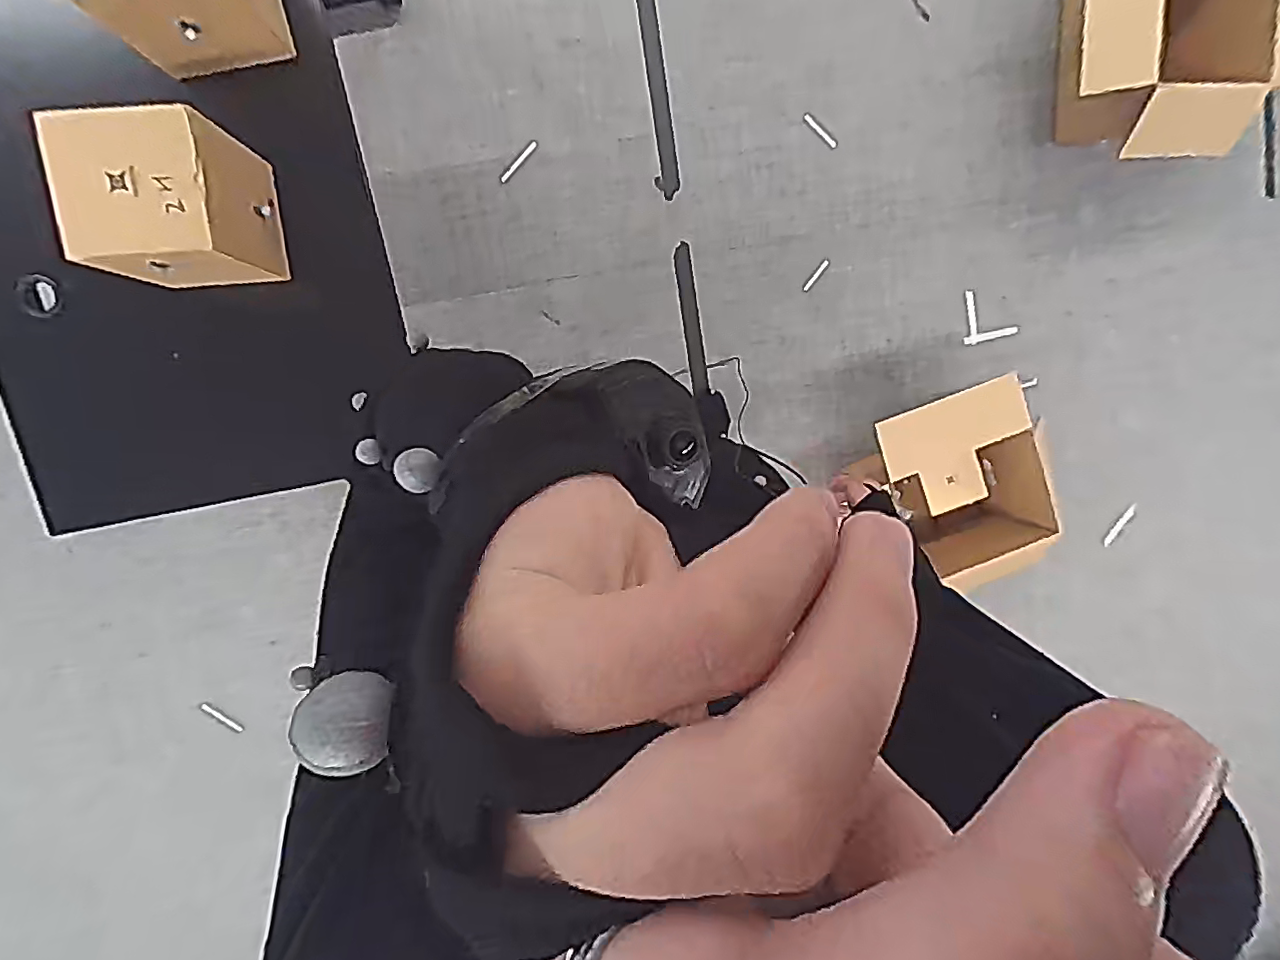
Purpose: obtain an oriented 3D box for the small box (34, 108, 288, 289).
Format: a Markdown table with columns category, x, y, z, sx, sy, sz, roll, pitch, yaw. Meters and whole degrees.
| category | x | y | z | sx | sy | sz | roll | pitch | yaw |
| --- | --- | --- | --- | --- | --- | --- | --- | --- | --- |
| small box | -0.616 | -0.360 | 0.721 | 0.179 | 0.176 | 0.168 | -6 | 99 | -3 |
